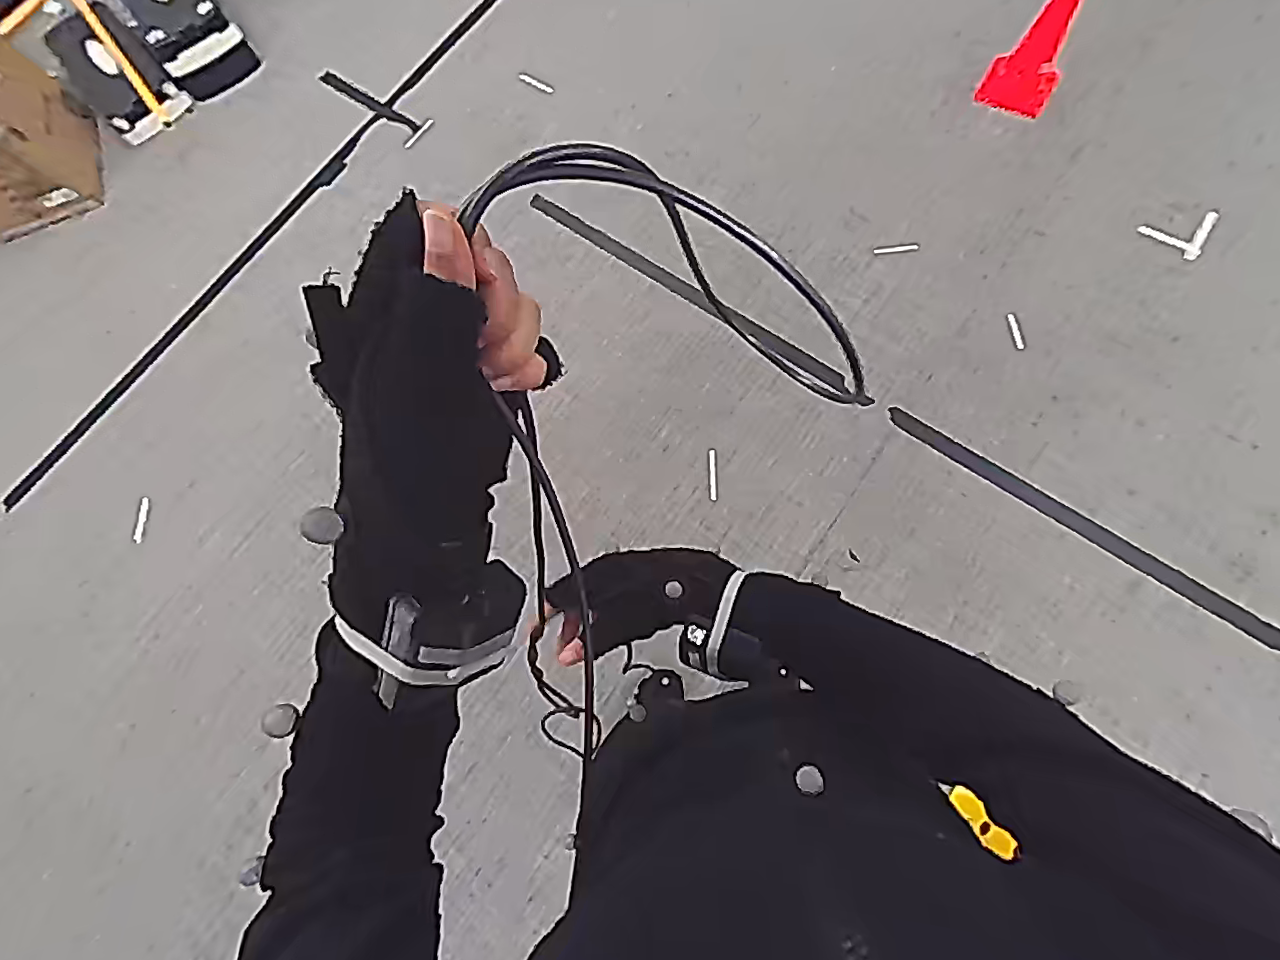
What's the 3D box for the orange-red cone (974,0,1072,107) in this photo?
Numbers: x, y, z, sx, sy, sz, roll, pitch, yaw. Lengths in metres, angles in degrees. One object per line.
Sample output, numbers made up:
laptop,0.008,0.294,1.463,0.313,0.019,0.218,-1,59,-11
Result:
orange-red cone,1.122,-1.274,1.481,0.199,0.360,0.198,30,79,15
